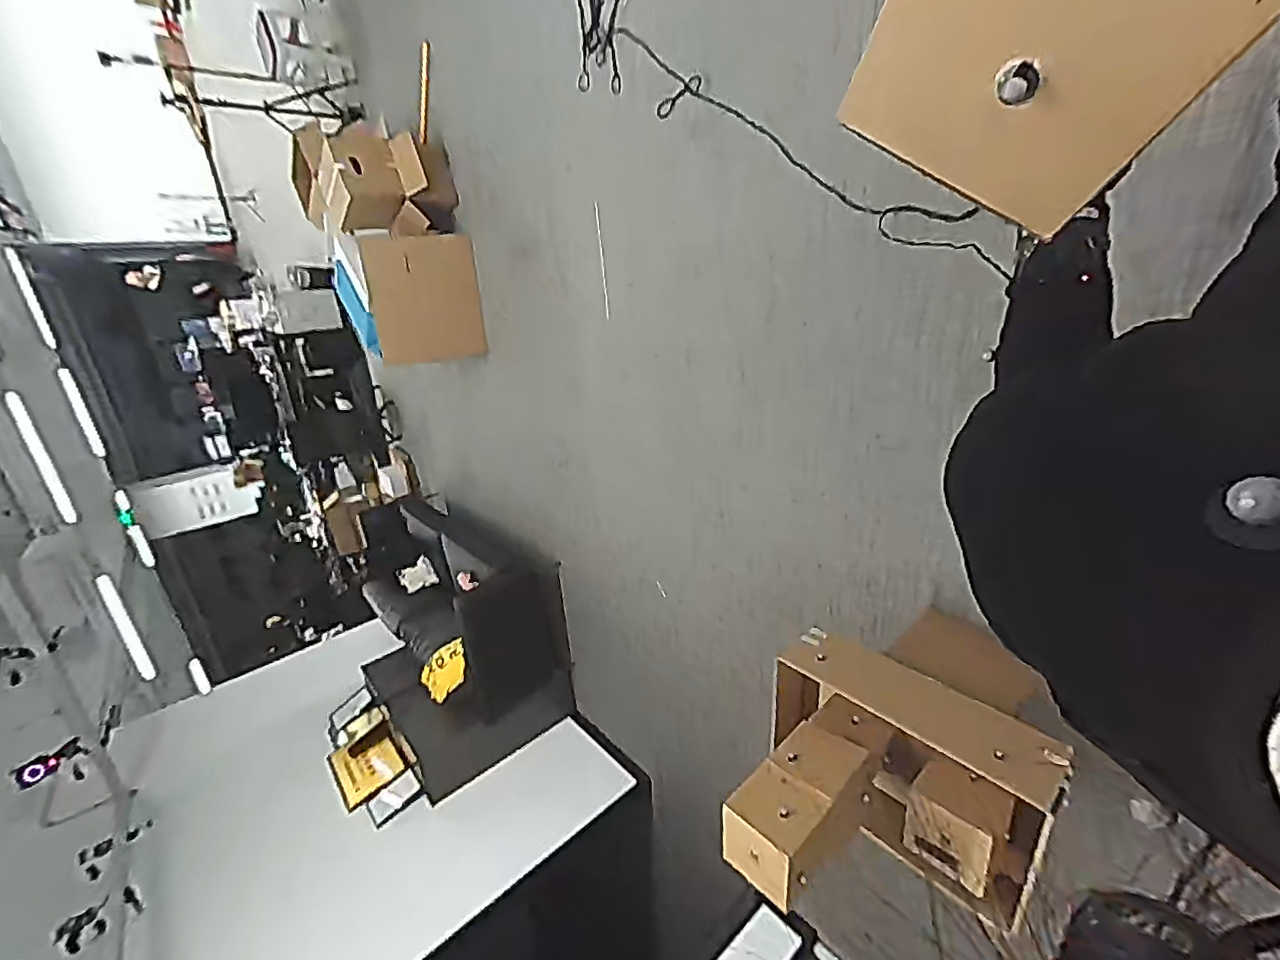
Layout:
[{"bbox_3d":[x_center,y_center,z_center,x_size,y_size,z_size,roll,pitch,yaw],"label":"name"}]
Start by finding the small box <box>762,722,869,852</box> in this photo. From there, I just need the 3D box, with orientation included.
[{"bbox_3d":[0.412,0.703,1.267,0.179,0.176,0.168,8,114,47],"label":"small box"}]

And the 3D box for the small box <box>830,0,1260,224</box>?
[{"bbox_3d":[0.257,-0.309,0.331,0.179,0.168,0.176,35,160,11],"label":"small box"}]

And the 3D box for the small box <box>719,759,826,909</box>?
[{"bbox_3d":[0.289,0.755,1.175,0.168,0.176,0.179,18,121,44],"label":"small box"}]
